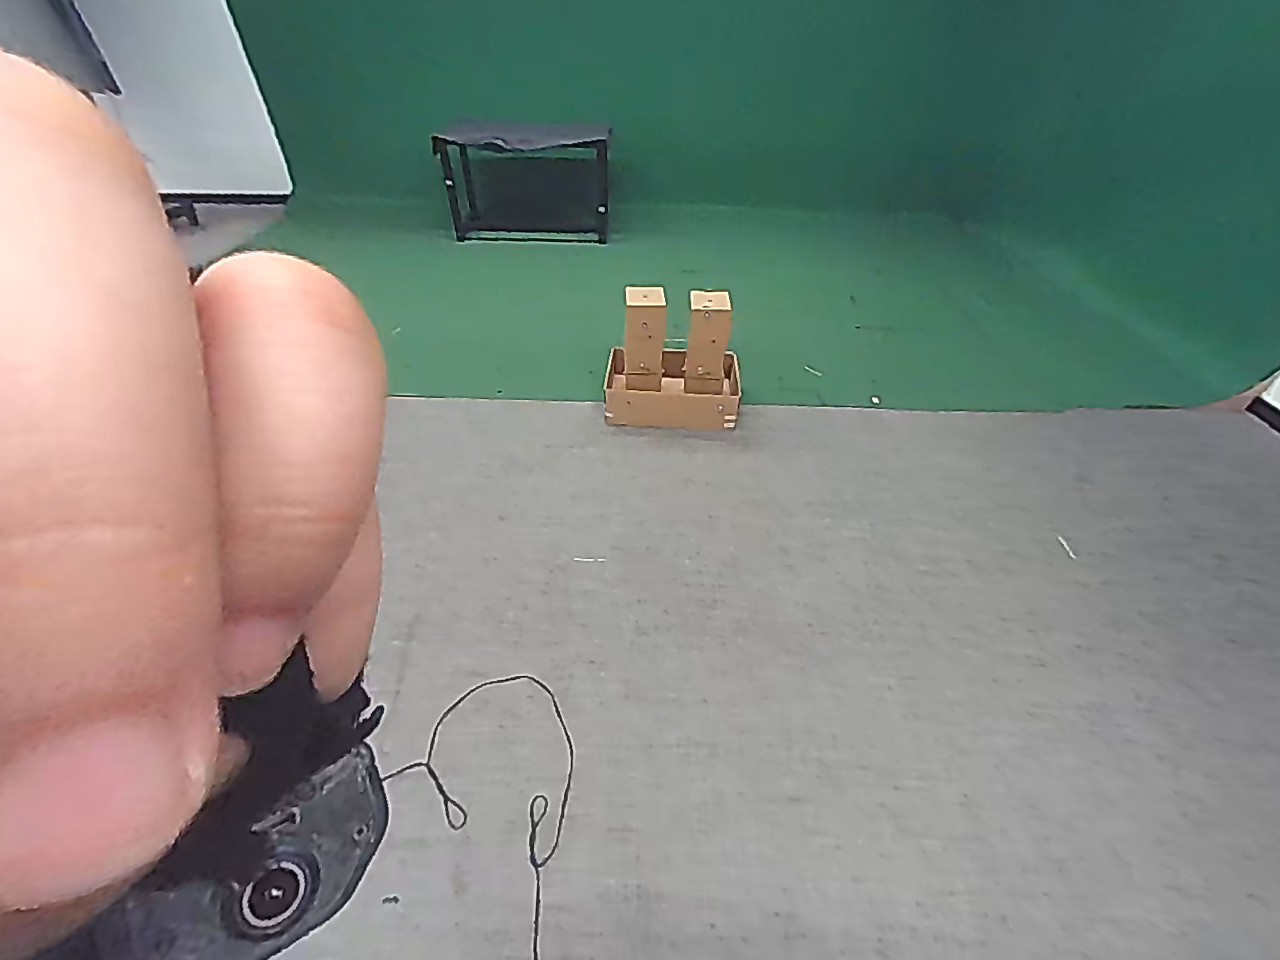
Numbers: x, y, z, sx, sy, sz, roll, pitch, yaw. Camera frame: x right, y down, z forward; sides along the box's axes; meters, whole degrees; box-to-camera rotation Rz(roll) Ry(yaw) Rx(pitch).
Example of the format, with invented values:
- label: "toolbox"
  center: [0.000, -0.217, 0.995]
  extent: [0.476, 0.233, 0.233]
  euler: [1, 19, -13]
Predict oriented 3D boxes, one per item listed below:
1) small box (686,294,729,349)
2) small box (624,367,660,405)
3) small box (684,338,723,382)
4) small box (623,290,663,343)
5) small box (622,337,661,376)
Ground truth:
- label: "small box"
  center: [0.287, -0.686, 2.334]
  extent: [0.168, 0.176, 0.179]
  euler: [1, 42, 2]
- label: "small box"
  center: [0.006, -0.480, 2.590]
  extent: [0.168, 0.176, 0.179]
  euler: [1, 43, -2]
- label: "small box"
  center: [0.286, -0.565, 2.447]
  extent: [0.168, 0.176, 0.179]
  euler: [3, 44, 4]
- label: "small box"
  center: [0.010, -0.711, 2.354]
  extent: [0.168, 0.176, 0.179]
  euler: [0, 43, -4]
- label: "small box"
  center: [0.003, -0.592, 2.469]
  extent: [0.168, 0.176, 0.179]
  euler: [-1, 45, -4]
